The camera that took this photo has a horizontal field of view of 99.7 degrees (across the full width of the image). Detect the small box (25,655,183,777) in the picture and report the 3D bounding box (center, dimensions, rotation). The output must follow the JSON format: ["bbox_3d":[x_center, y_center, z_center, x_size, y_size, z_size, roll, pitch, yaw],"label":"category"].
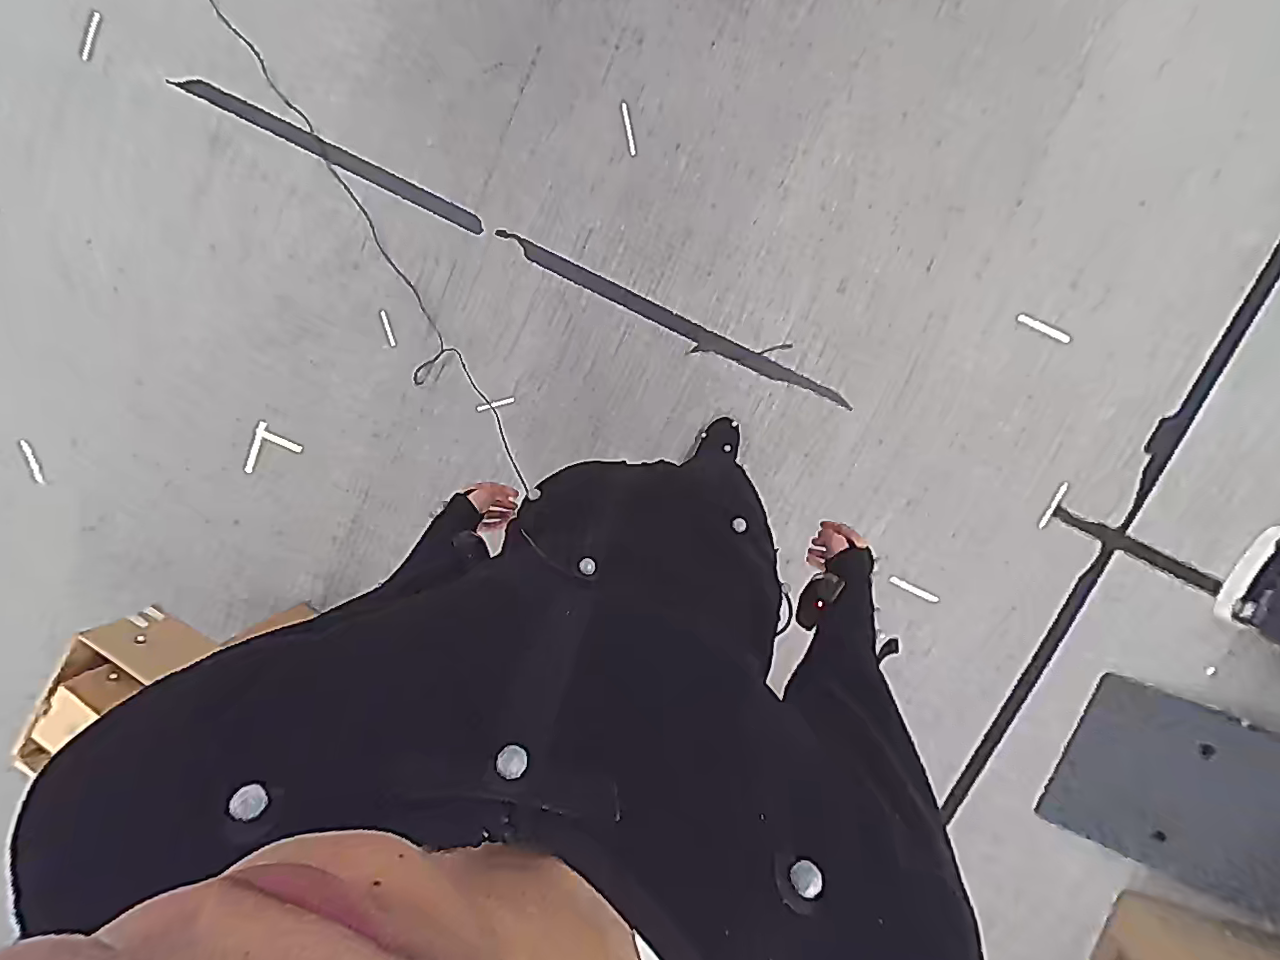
[{"bbox_3d":[-1.258,0.544,1.280,0.179,0.176,0.168,39,100,-1],"label":"small box"}]
